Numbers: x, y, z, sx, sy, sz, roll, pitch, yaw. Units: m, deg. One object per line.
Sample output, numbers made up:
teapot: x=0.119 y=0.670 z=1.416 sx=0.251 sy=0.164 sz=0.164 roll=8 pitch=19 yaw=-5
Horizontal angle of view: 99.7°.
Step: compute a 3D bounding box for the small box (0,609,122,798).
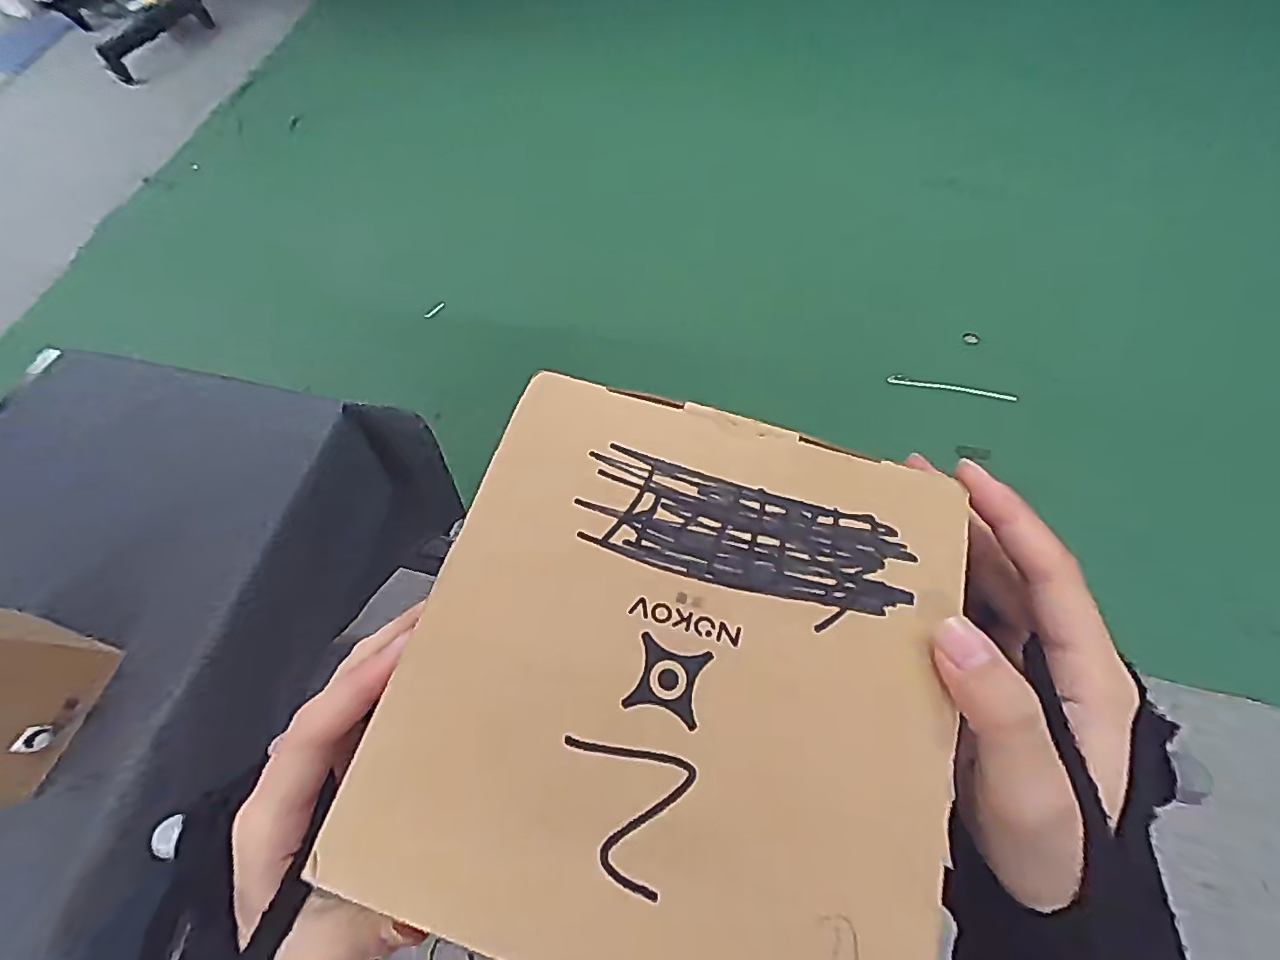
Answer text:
small box: x=-0.715 y=0.222 z=0.553 sx=0.179 sy=0.176 sz=0.168 roll=12 pitch=68 yaw=14
